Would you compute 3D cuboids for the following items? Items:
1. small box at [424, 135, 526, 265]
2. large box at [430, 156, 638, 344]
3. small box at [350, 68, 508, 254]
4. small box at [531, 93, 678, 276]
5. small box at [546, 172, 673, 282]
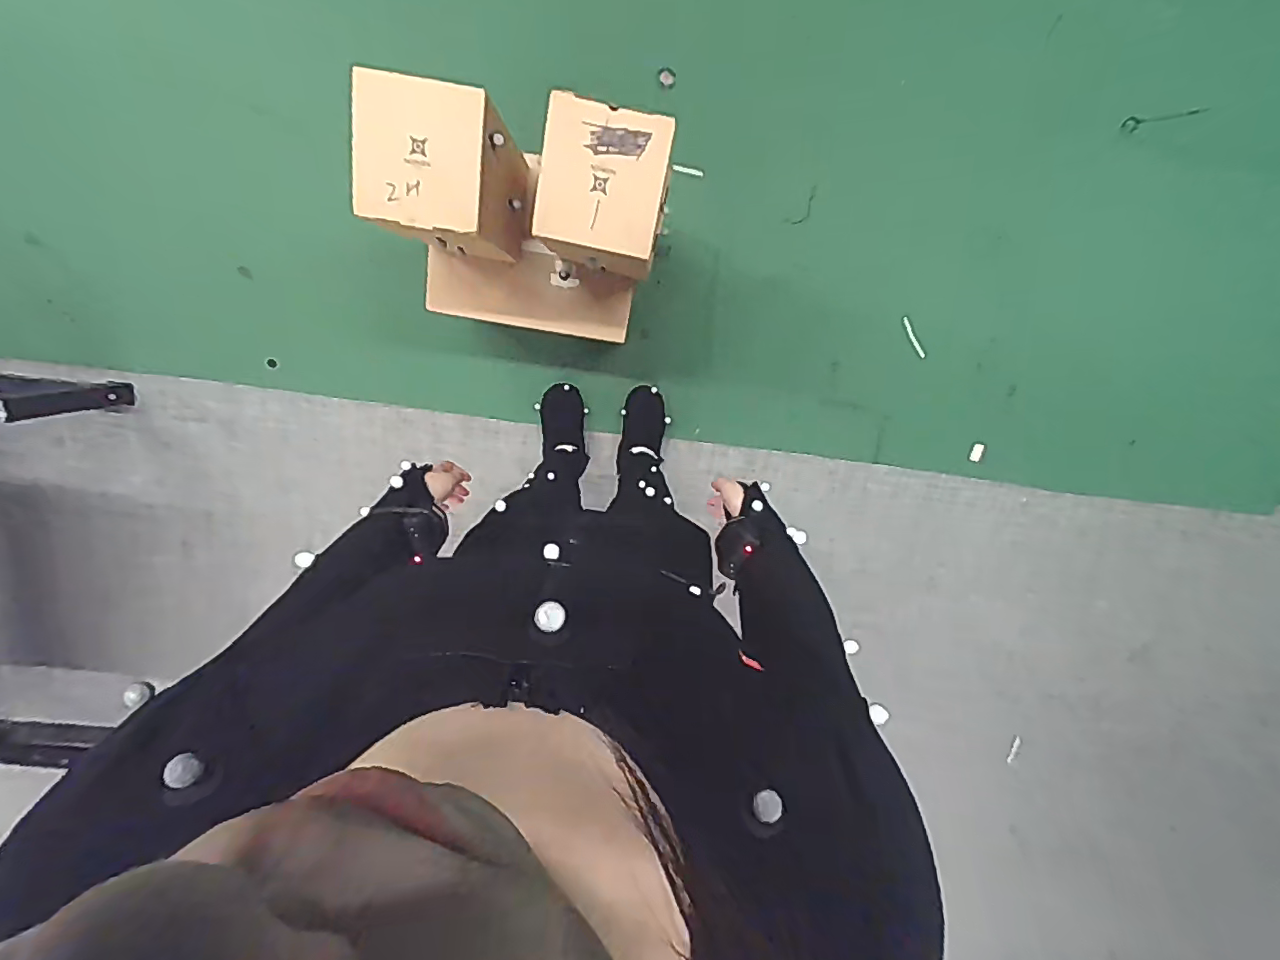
[{"bbox_3d":[-0.296,-0.483,0.929,0.168,0.176,0.179,9,105,-4],"label":"small box"},{"bbox_3d":[-0.204,-0.484,1.182,0.408,0.320,0.320,8,106,-4],"label":"large box"},{"bbox_3d":[-0.289,-0.437,0.771,0.168,0.176,0.179,8,105,-4],"label":"small box"},{"bbox_3d":[-0.049,-0.409,0.781,0.168,0.176,0.179,12,105,-3],"label":"small box"},{"bbox_3d":[-0.050,-0.451,0.942,0.179,0.176,0.168,13,104,-3],"label":"small box"}]
